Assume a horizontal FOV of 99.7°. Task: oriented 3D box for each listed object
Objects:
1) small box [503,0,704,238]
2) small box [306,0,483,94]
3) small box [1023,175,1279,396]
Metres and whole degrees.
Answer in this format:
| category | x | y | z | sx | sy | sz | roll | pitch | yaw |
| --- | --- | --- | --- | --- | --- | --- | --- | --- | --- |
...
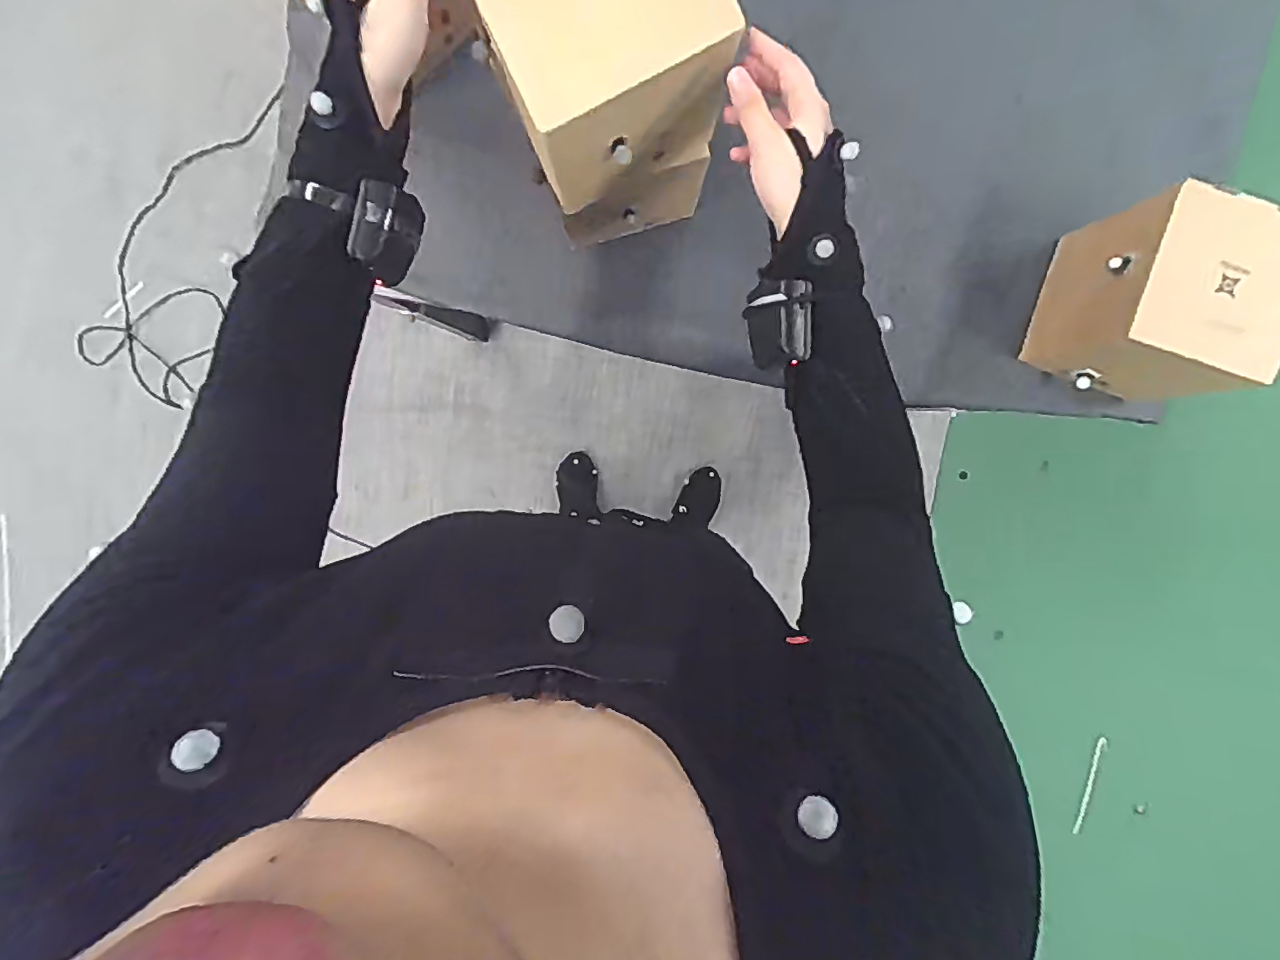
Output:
| category | x | y | z | sx | sy | sz | roll | pitch | yaw |
| --- | --- | --- | --- | --- | --- | --- | --- | --- | --- |
| small box | -0.034 | -0.395 | 0.613 | 0.168 | 0.176 | 0.179 | -16 | 97 | 1 |
| small box | -0.303 | -0.581 | 0.586 | 0.168 | 0.176 | 0.179 | -40 | 97 | 5 |
| small box | 0.603 | -0.211 | 0.638 | 0.168 | 0.176 | 0.179 | 18 | 94 | -1 |
